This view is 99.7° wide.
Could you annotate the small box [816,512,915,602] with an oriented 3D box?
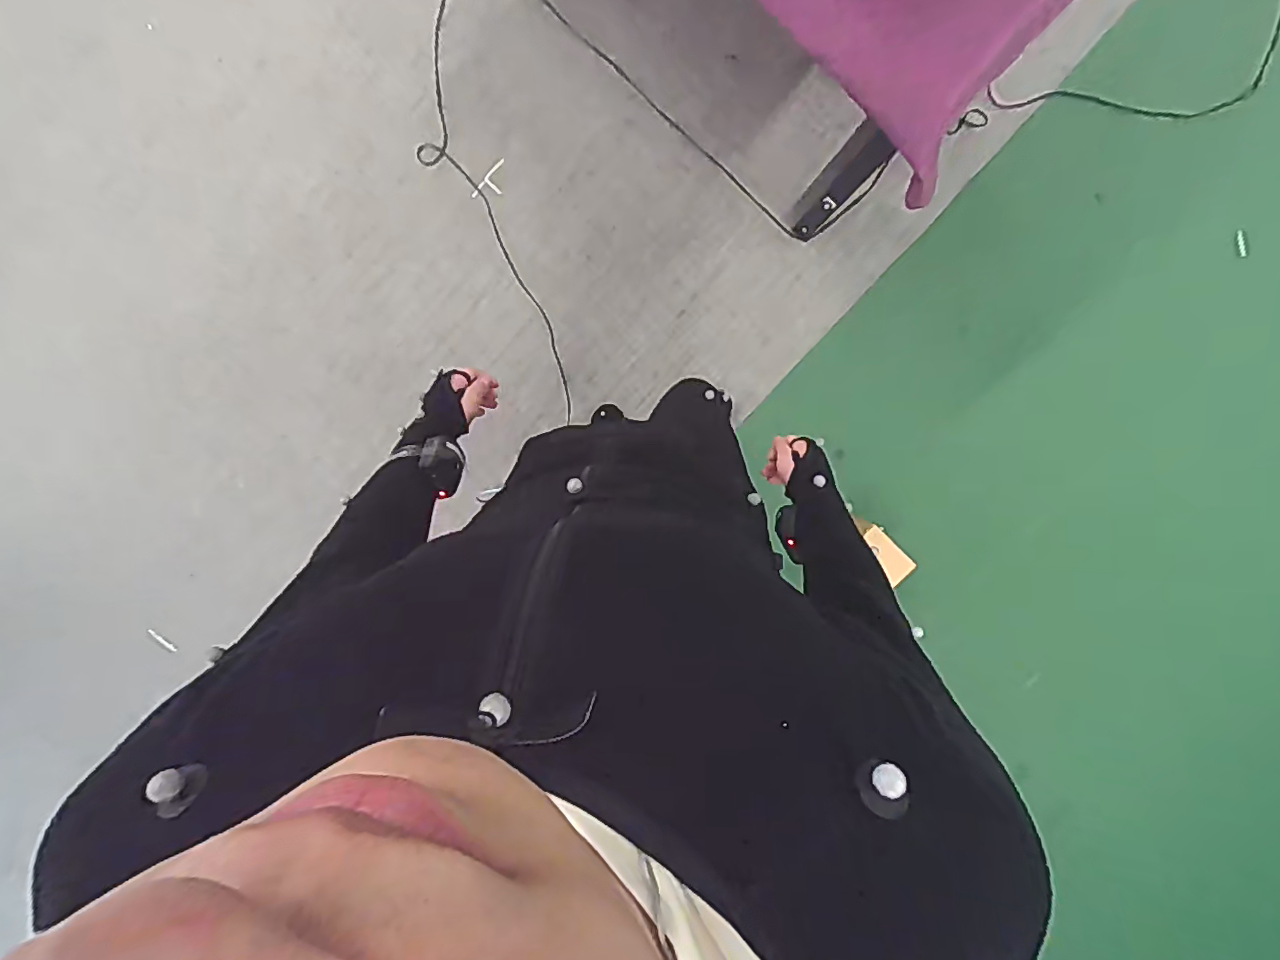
[{"bbox_3d":[0.651,0.216,1.581,0.179,0.176,0.168,42,96,-6],"label":"small box"}]
